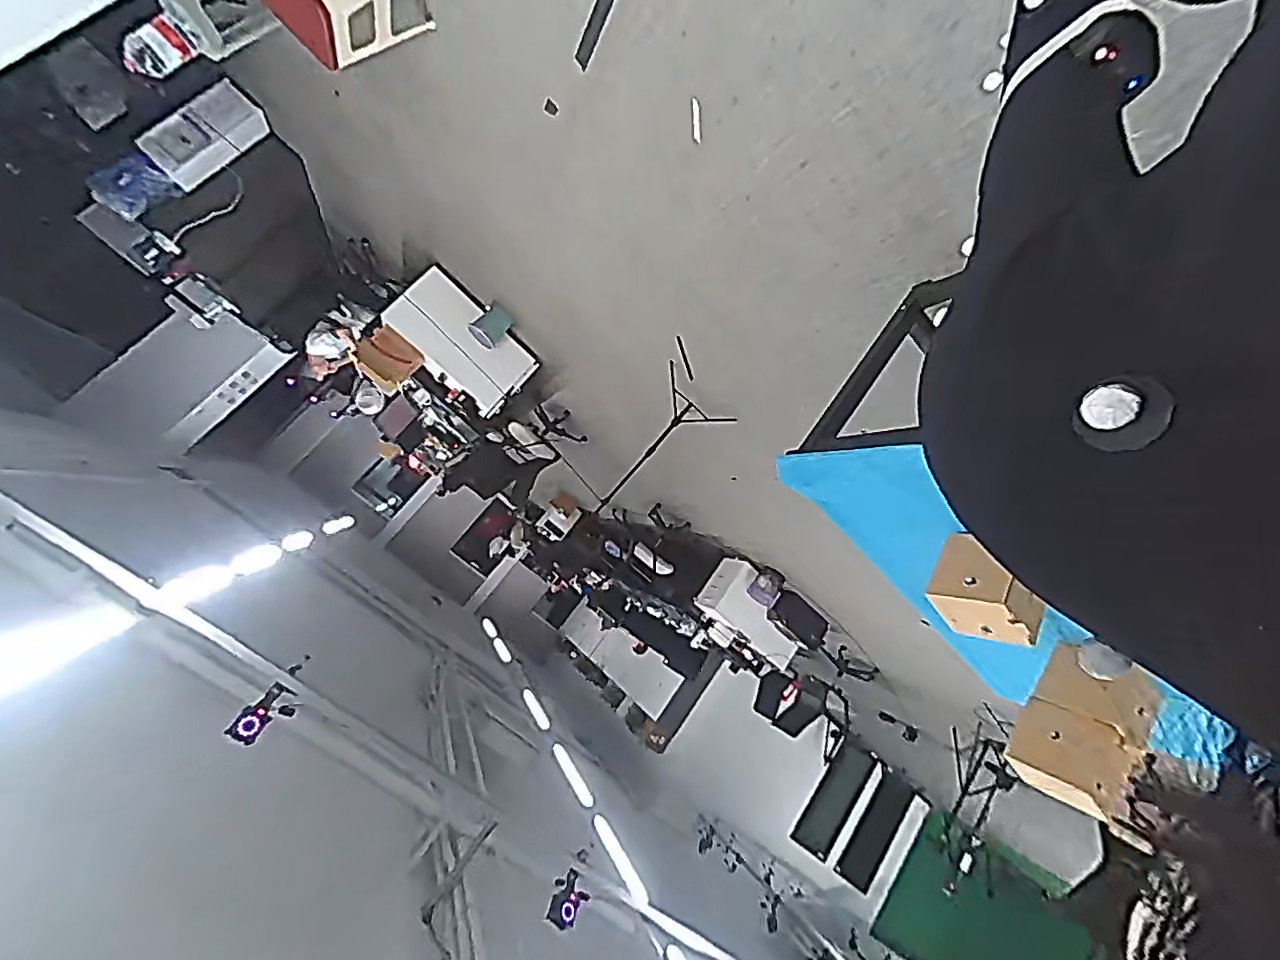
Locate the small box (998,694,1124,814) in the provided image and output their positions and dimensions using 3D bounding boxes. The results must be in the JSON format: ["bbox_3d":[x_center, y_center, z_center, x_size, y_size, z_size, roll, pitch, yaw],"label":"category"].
[{"bbox_3d":[1.009,0.657,1.301,0.168,0.176,0.179,46,161,-24],"label":"small box"}]

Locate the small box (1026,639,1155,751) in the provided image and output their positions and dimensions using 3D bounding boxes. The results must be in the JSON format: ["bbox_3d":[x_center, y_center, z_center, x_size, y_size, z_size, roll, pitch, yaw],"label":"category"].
[{"bbox_3d":[1.107,0.528,1.334,0.168,0.176,0.179,45,162,-21],"label":"small box"}]

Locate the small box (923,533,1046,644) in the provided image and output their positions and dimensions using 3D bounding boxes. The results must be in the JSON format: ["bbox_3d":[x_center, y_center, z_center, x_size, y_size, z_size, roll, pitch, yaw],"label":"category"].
[{"bbox_3d":[0.771,0.238,1.221,0.168,0.179,0.176,46,155,-24],"label":"small box"}]
